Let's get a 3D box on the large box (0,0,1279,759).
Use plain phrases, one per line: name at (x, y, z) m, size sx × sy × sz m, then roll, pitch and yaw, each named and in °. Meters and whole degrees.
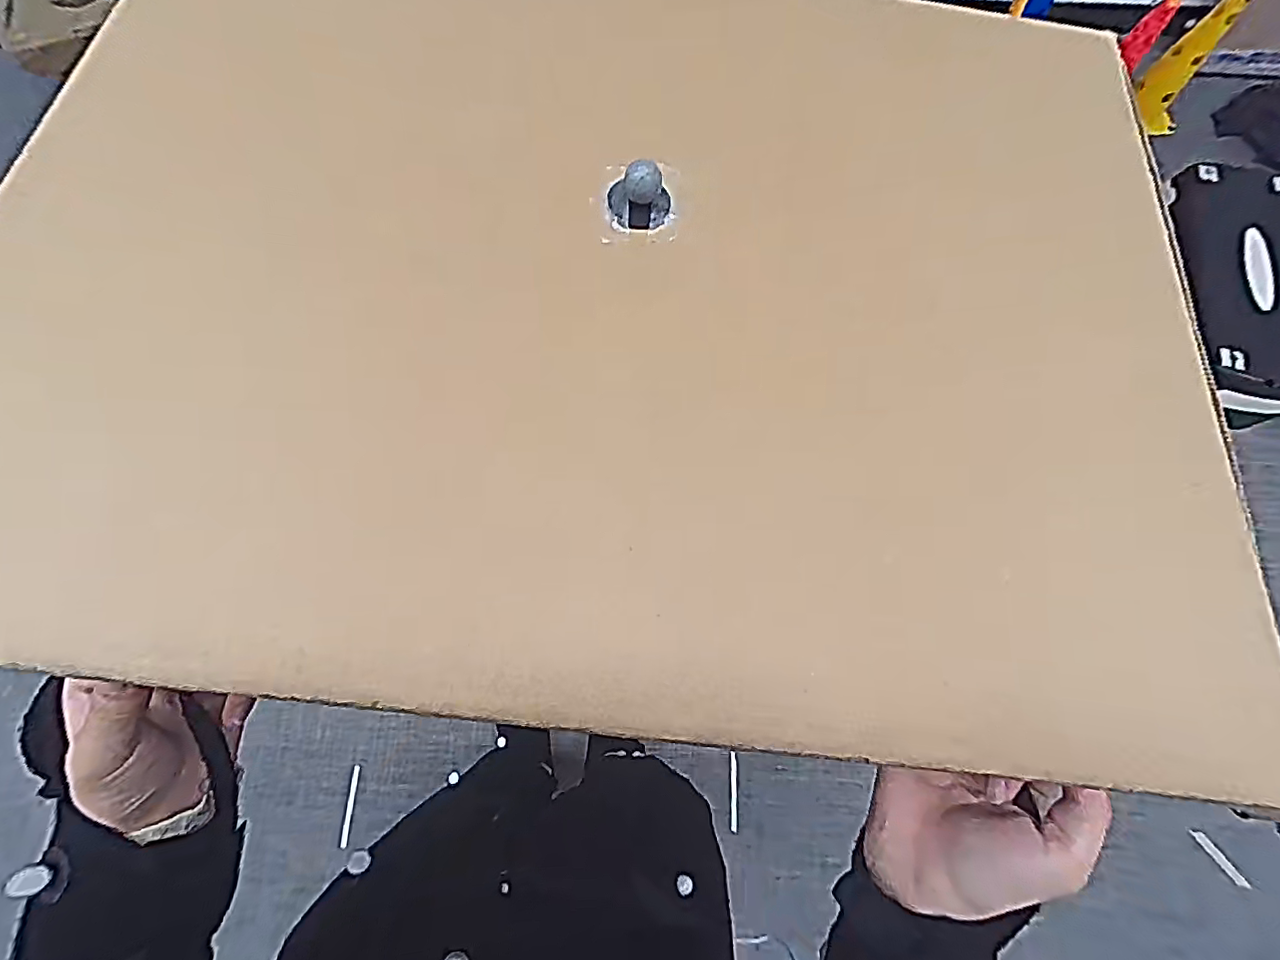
large box at (-0.013, -0.045, 0.325) m, size 0.408 × 0.320 × 0.320 m, roll 7°, pitch 73°, yaw -1°
